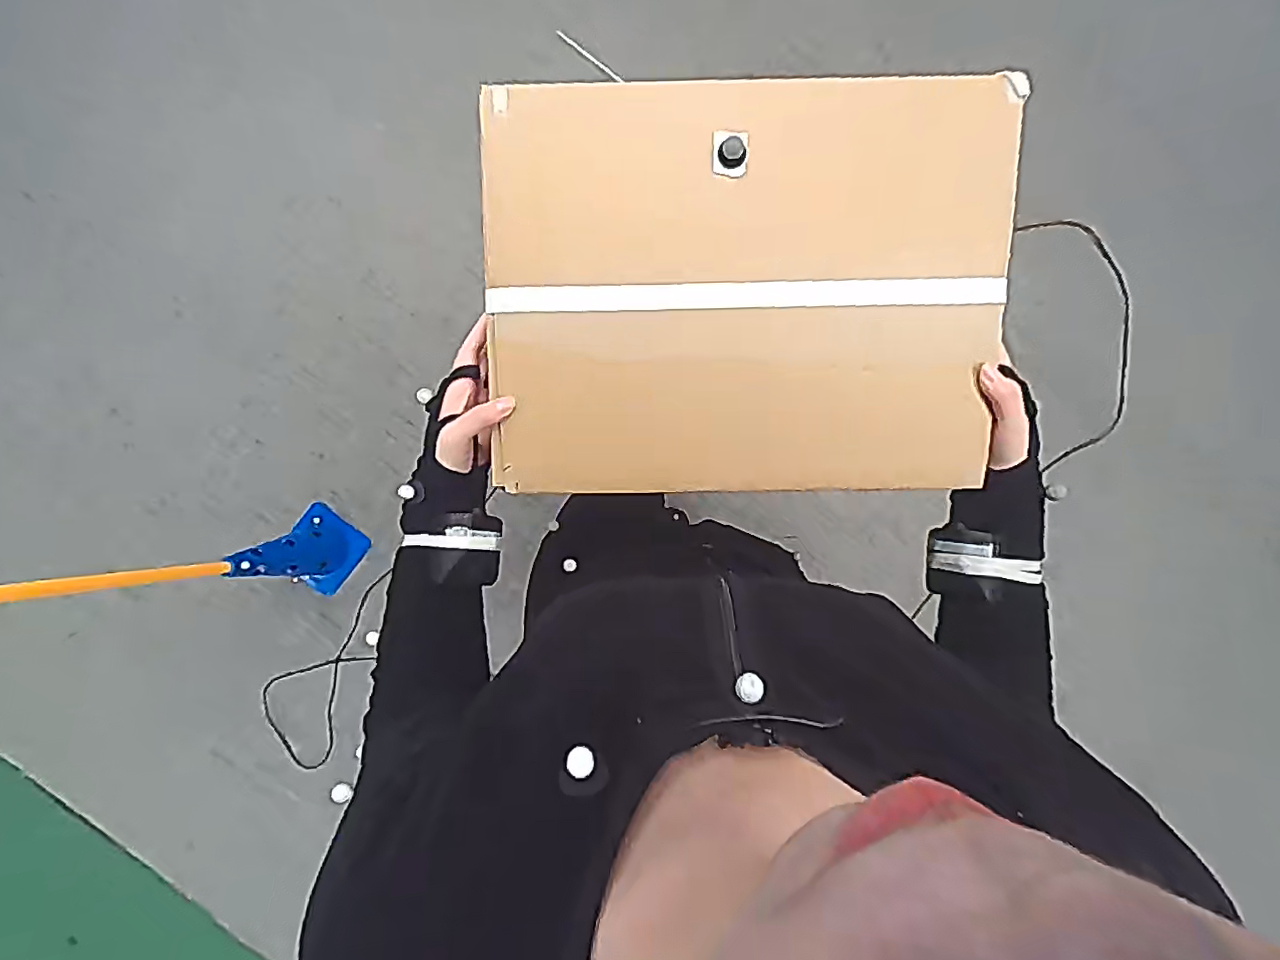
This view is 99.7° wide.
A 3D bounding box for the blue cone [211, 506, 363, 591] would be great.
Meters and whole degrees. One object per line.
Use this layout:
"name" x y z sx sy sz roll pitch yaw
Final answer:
"blue cone" -0.866 0.182 1.291 0.193 0.380 0.192 35 88 1
